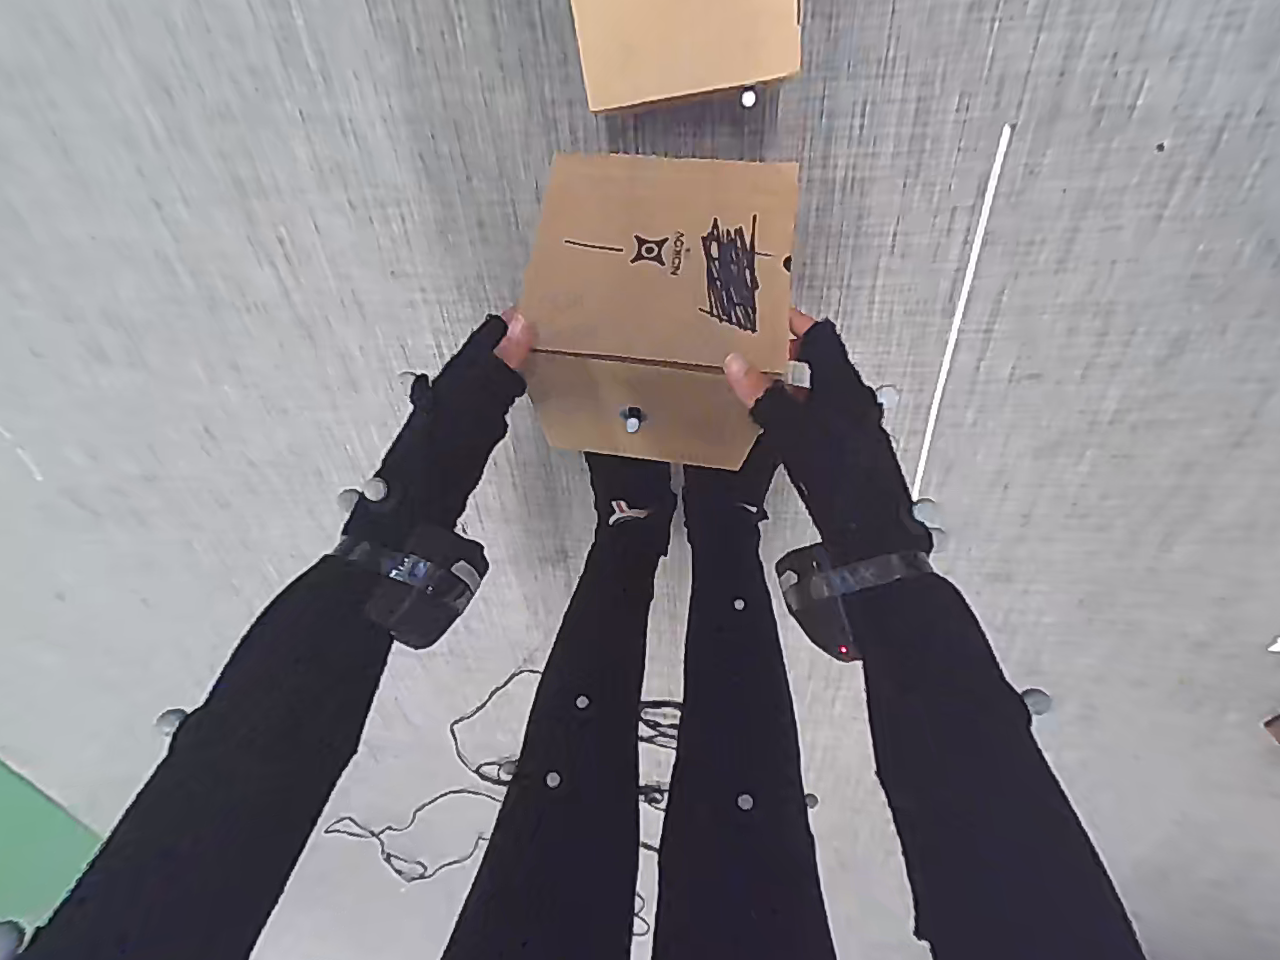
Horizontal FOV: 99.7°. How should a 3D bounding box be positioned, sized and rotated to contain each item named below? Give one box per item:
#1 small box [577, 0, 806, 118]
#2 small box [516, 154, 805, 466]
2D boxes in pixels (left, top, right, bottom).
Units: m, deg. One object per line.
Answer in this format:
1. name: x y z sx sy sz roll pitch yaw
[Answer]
1. small box: 0.044 -0.425 0.469 0.179 0.176 0.168 -4 122 10
2. small box: 0.018 -0.119 0.434 0.179 0.168 0.176 7 162 3
